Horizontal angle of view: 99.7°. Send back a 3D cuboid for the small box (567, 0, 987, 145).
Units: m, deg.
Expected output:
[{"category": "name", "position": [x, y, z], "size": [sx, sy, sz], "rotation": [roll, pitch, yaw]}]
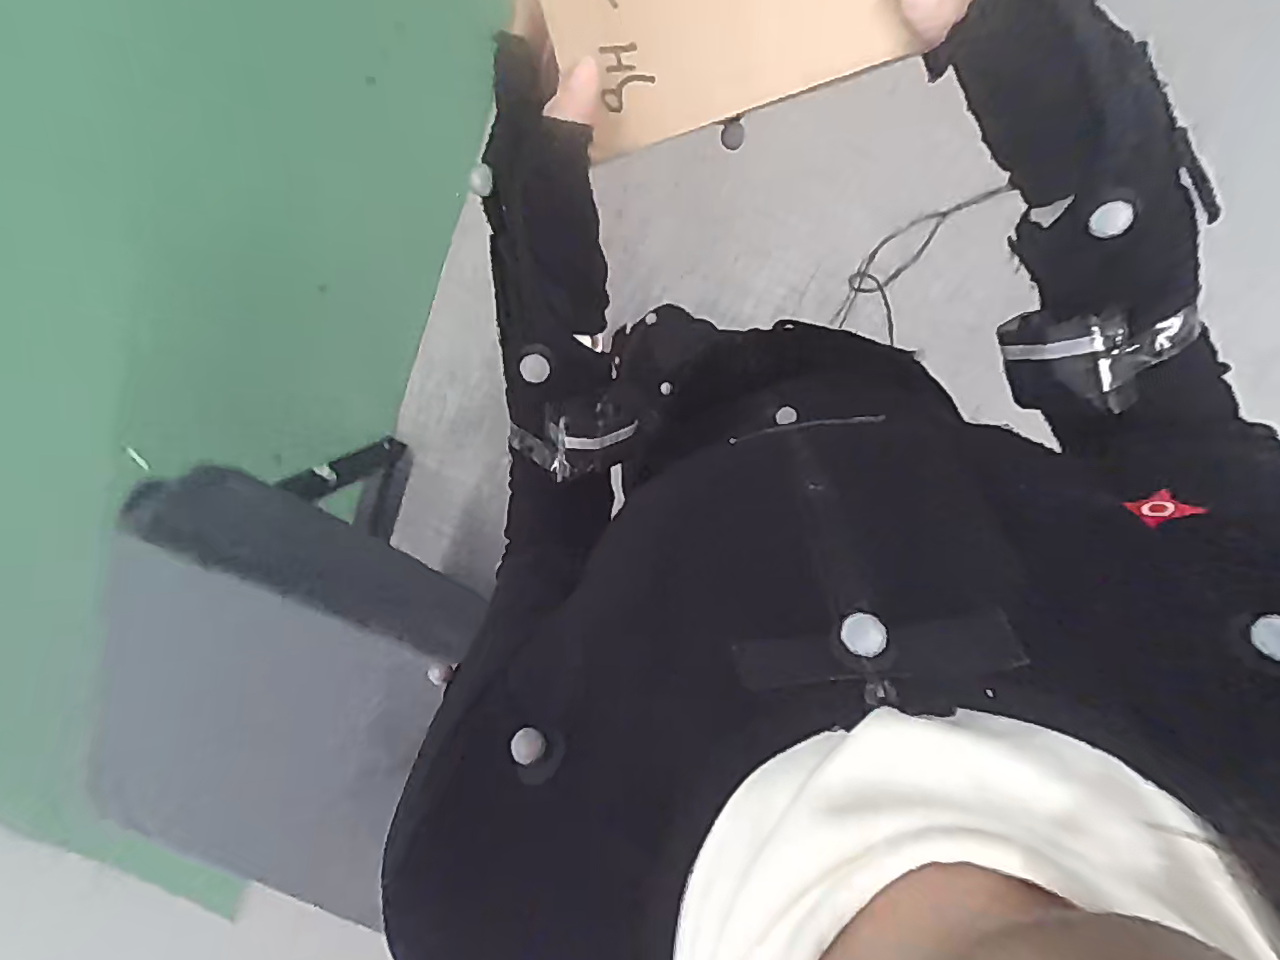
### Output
[{"category": "small box", "position": [0.044, -0.285, 0.271], "size": [0.179, 0.176, 0.168], "rotation": [-13, 119, 7]}]
